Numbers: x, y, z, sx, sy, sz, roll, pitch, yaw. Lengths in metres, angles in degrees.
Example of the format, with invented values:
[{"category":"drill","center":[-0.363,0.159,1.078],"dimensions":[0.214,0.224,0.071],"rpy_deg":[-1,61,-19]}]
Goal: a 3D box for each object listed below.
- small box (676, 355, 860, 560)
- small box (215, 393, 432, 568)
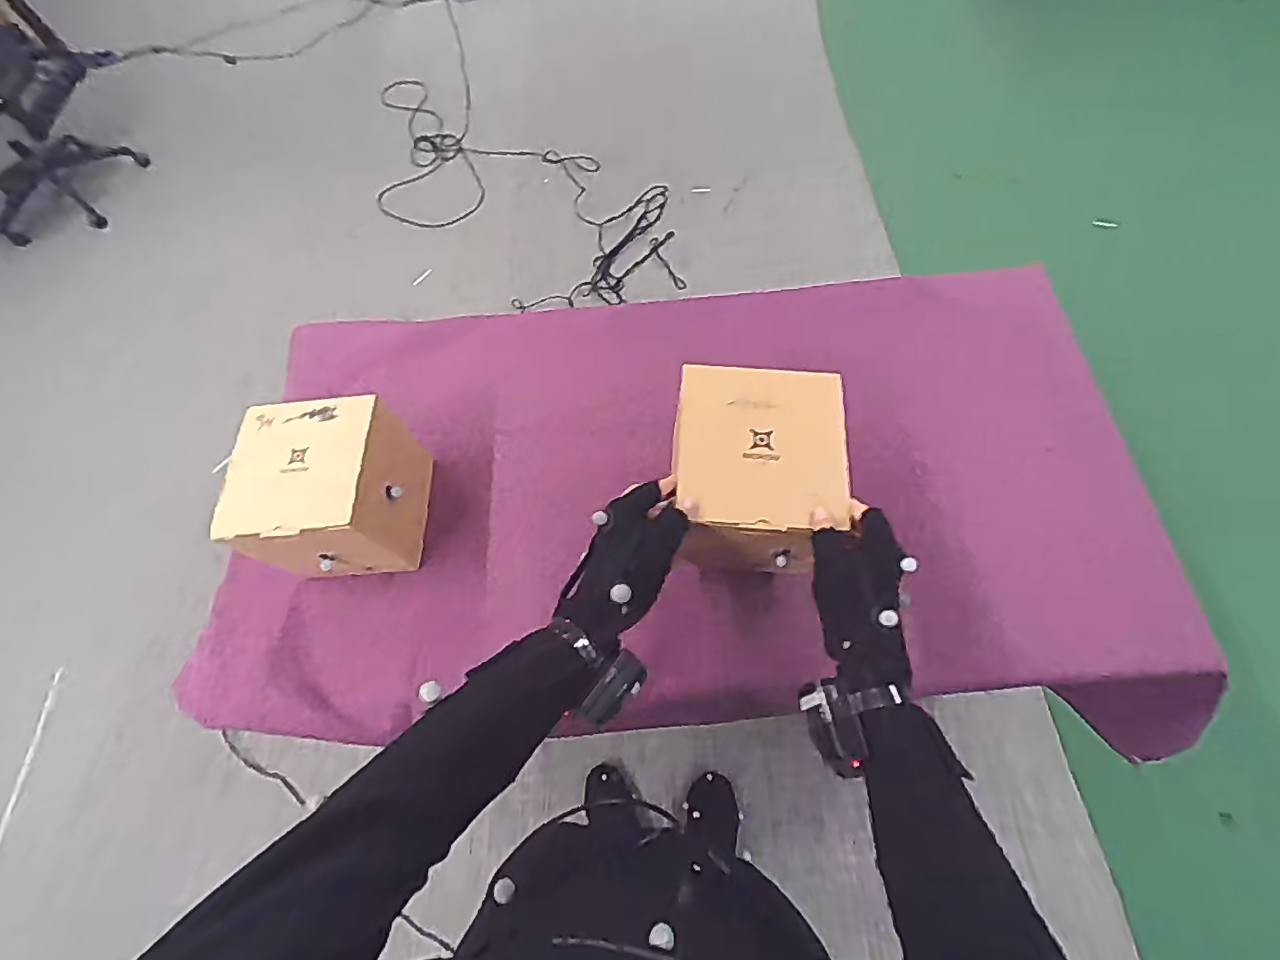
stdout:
[{"category":"small box","center":[0.130,-0.015,0.603],"dimensions":[0.168,0.176,0.179],"rpy_deg":[4,68,2]},{"category":"small box","center":[-0.388,0.011,0.700],"dimensions":[0.168,0.176,0.179],"rpy_deg":[-5,65,3]}]
